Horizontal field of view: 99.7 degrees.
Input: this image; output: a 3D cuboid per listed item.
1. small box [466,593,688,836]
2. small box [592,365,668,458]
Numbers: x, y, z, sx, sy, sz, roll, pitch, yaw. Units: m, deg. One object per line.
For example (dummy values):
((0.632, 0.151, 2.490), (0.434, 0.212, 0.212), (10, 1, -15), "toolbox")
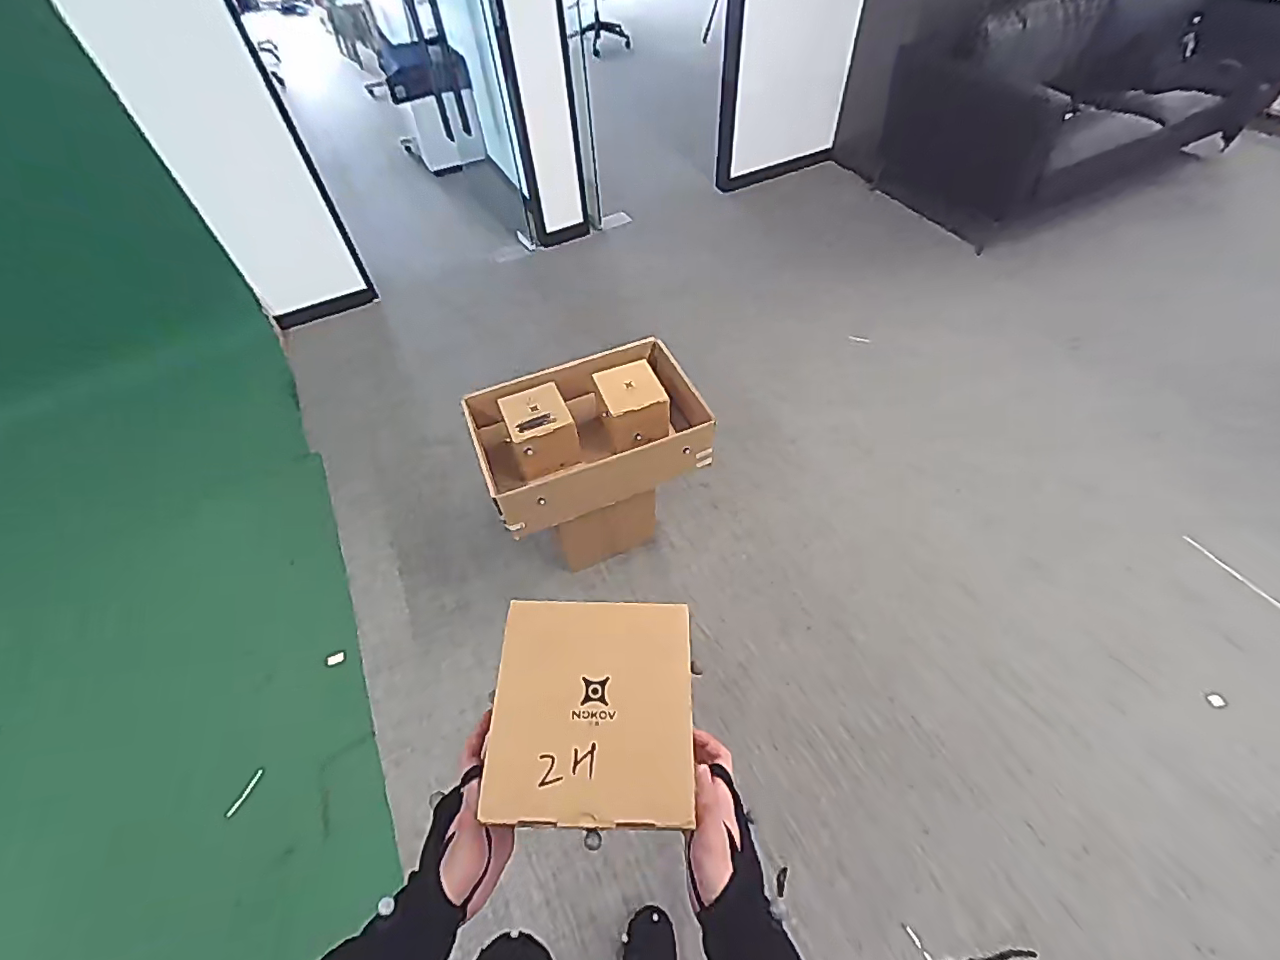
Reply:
((-0.045, 0.223, 0.506), (0.168, 0.176, 0.179), (2, 55, 1), "small box")
((-0.029, -0.194, 1.541), (0.168, 0.176, 0.179), (-18, 55, -11), "small box")
